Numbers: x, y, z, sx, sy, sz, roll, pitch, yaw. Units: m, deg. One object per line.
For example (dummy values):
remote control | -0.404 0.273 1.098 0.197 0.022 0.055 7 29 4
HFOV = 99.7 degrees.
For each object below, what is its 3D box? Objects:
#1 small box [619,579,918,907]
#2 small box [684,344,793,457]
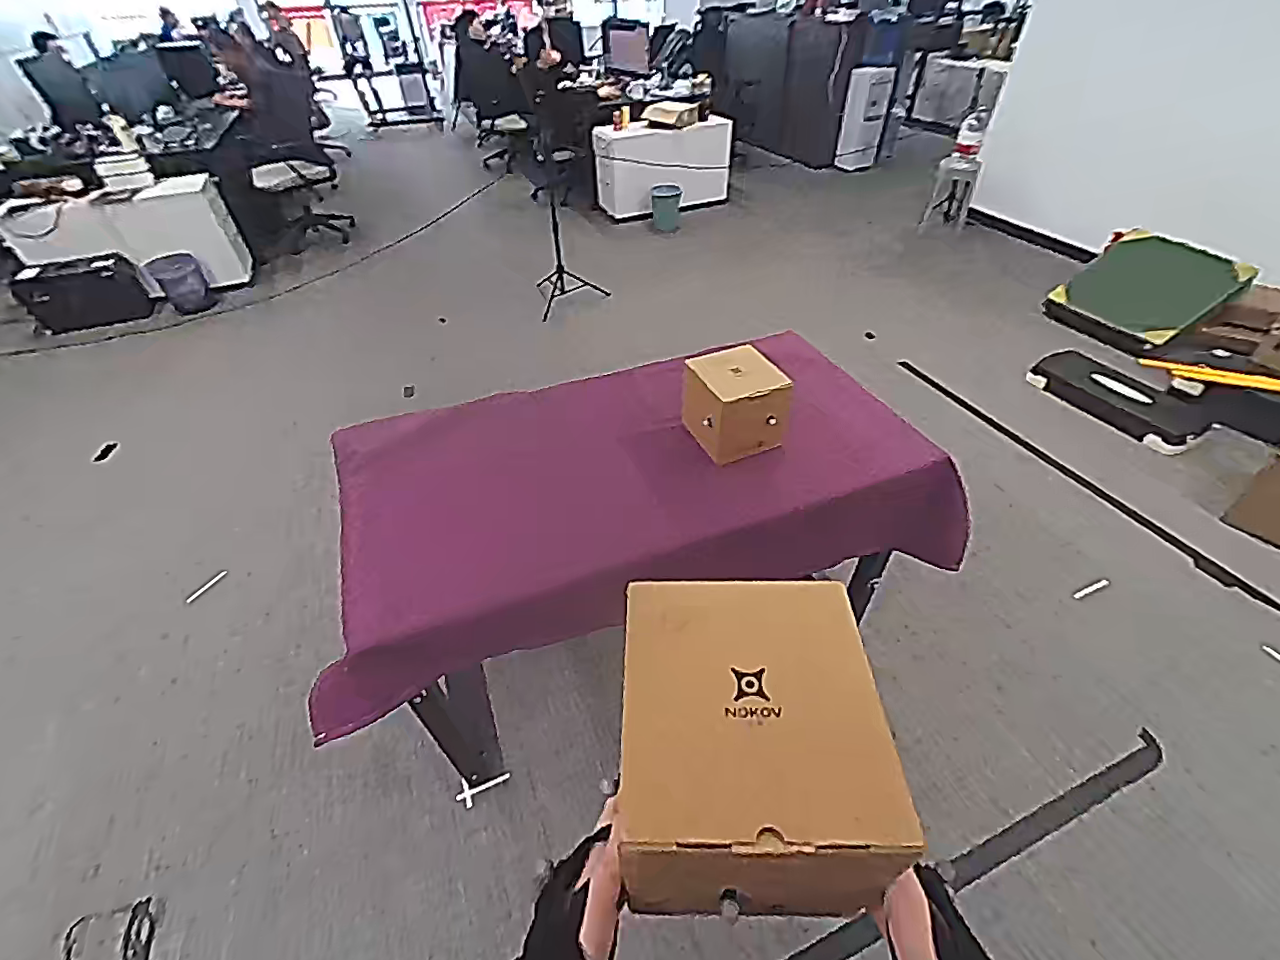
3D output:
small box | 0.071 0.194 0.407 0.168 0.176 0.179 -1 43 1
small box | 0.205 -0.167 1.176 0.168 0.176 0.179 -17 45 -15
